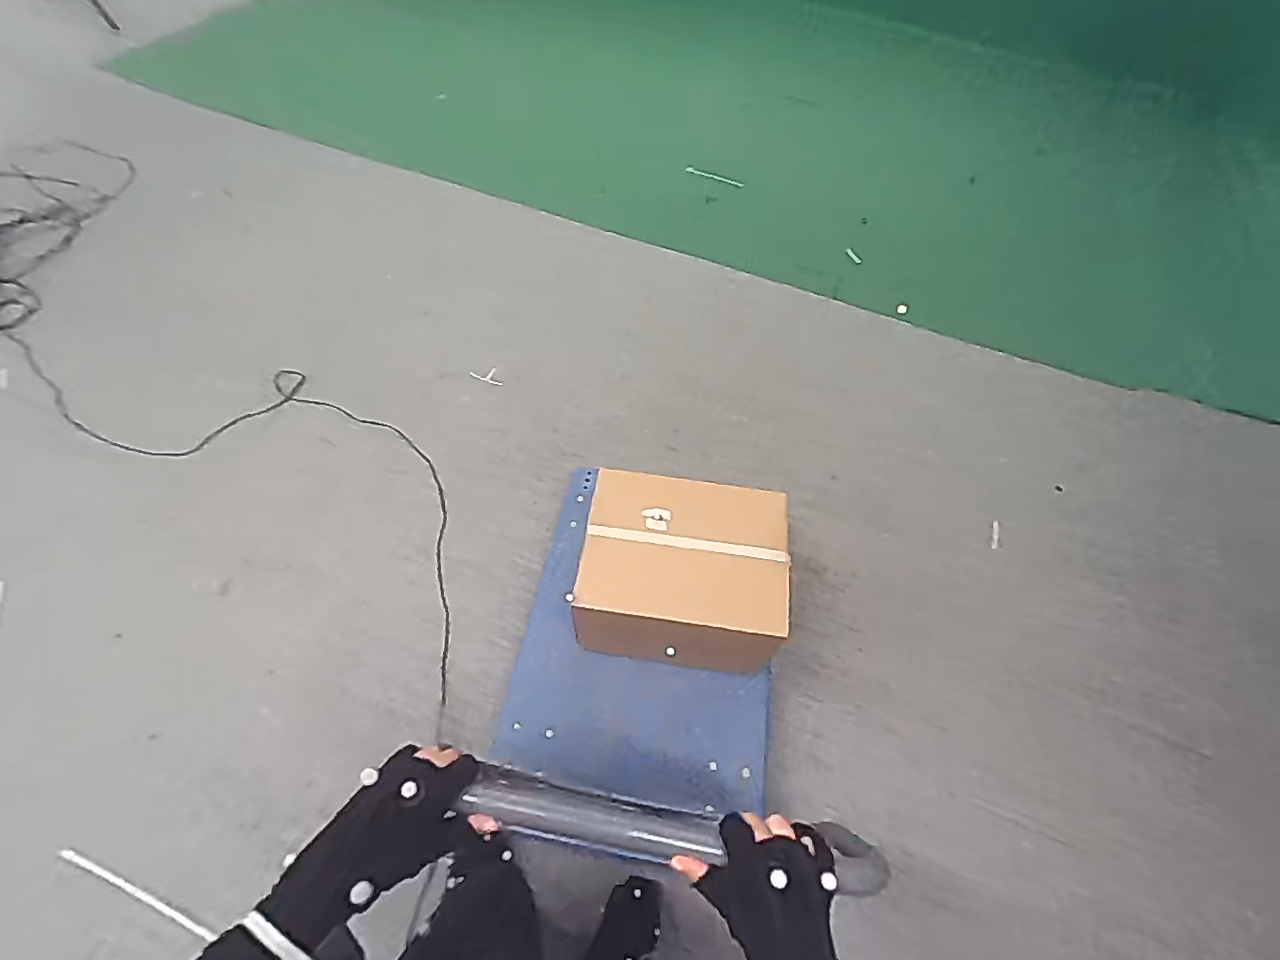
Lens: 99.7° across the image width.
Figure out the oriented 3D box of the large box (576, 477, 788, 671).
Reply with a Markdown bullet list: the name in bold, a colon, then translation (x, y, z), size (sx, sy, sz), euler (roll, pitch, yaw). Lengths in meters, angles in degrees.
- **large box**: translation (0.089, 0.219, 1.205), size (0.408, 0.320, 0.320), euler (7, 57, 2)
